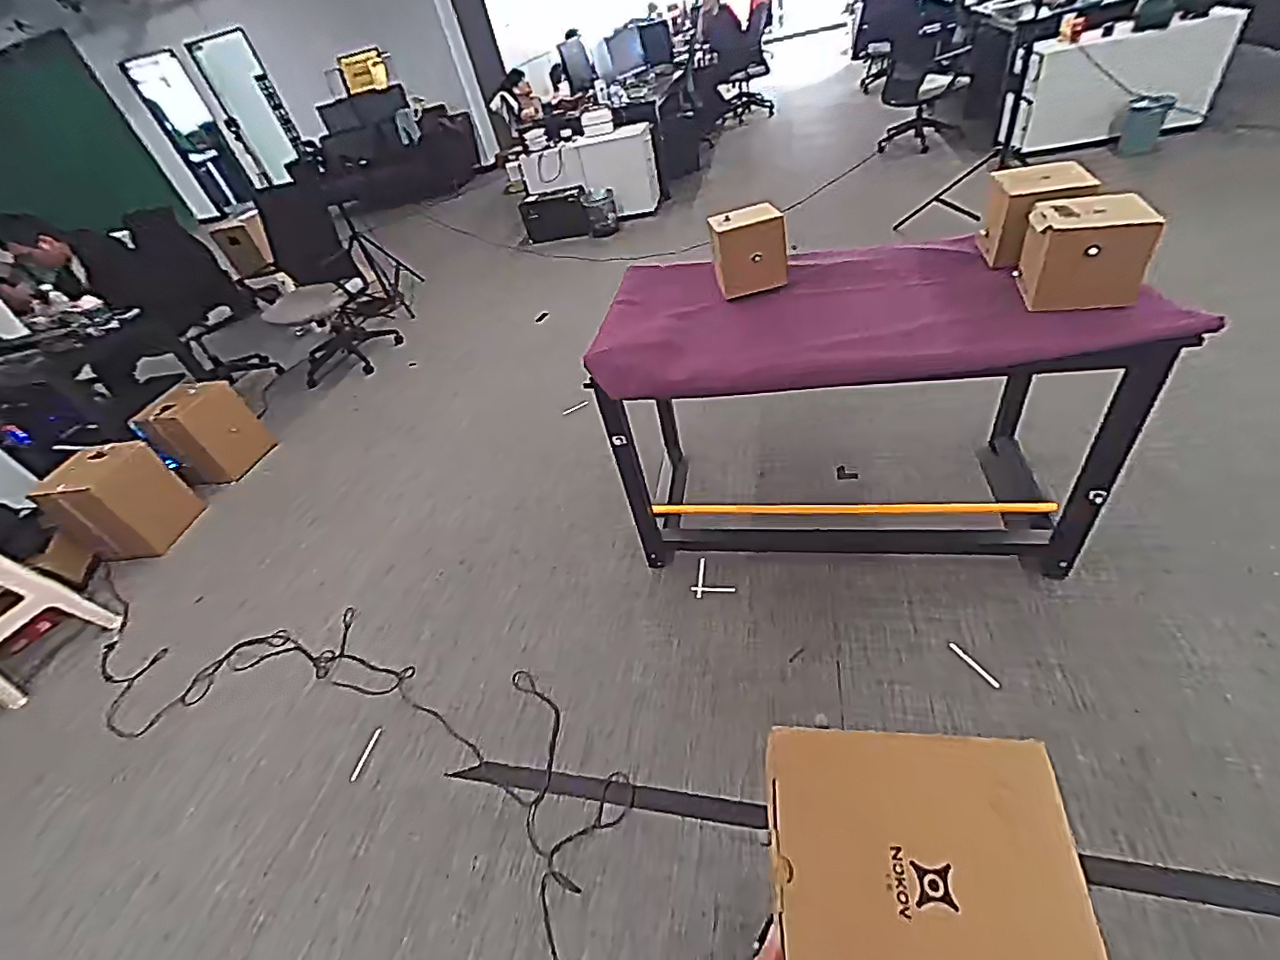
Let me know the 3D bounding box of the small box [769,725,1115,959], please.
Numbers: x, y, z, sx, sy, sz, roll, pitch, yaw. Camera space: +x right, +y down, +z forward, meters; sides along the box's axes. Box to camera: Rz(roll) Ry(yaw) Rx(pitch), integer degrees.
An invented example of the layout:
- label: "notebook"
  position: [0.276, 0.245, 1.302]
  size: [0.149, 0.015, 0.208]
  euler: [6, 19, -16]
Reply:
- label: "small box"
  position: [0.187, 0.279, 0.389]
  size: [0.179, 0.176, 0.168]
  euler: [-3, 58, 12]

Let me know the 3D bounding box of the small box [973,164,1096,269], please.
- label: "small box"
  position: [0.925, -0.624, 1.288]
  size: [0.179, 0.176, 0.168]
  euler: [-1, 44, 15]

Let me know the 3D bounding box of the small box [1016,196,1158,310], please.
- label: "small box"
  position: [0.903, -0.463, 1.117]
  size: [0.179, 0.176, 0.168]
  euler: [3, 43, 20]
